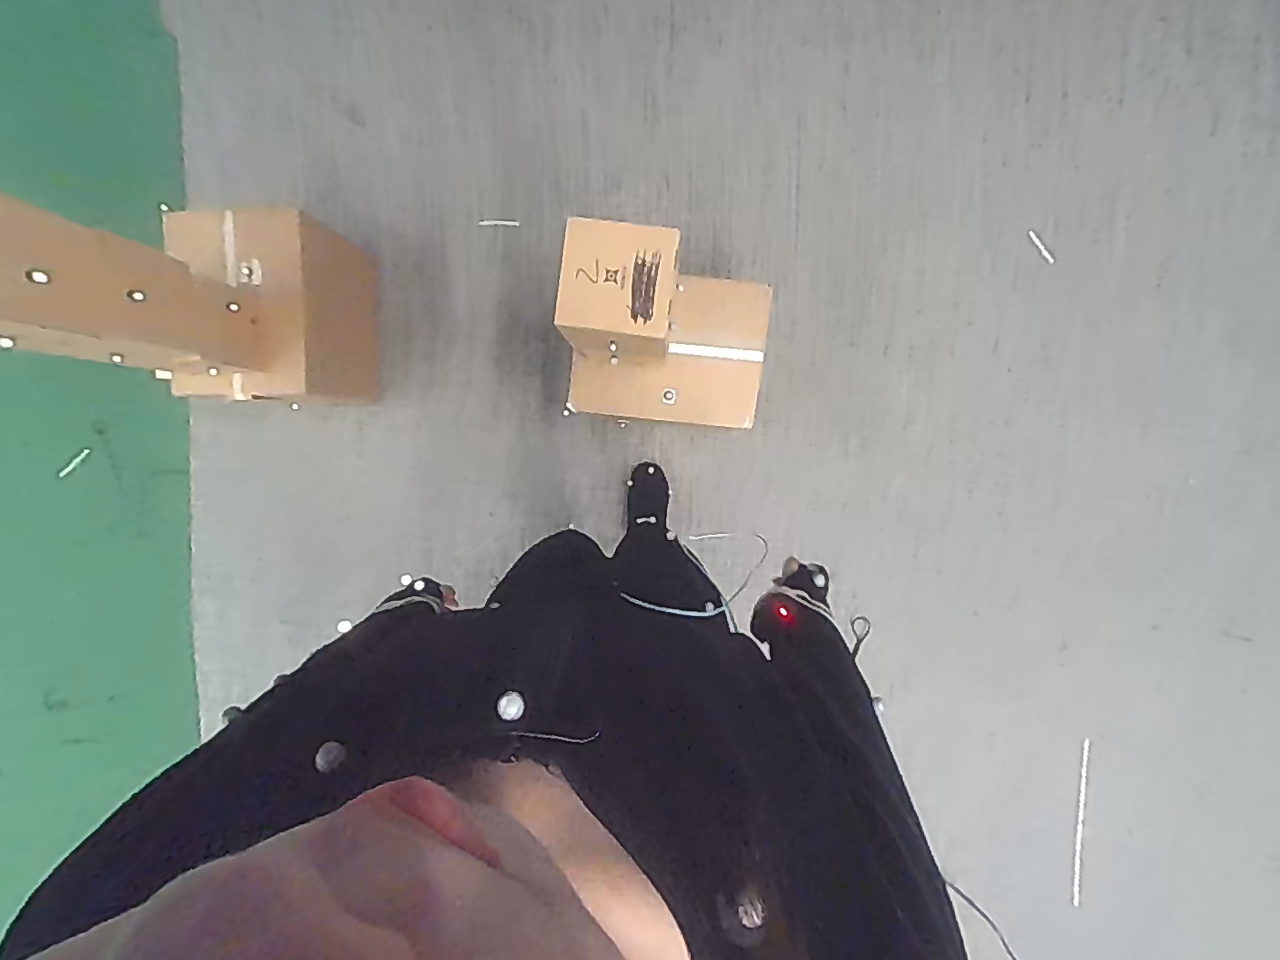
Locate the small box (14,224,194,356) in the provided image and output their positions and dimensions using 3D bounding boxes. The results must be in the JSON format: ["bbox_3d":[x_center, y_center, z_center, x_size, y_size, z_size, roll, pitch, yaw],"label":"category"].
[{"bbox_3d":[-0.920,-0.315,0.934,0.168,0.176,0.179,-5,93,2],"label":"small box"}]

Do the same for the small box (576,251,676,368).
[{"bbox_3d":[-0.022,-0.324,1.063,0.168,0.176,0.179,7,92,1],"label":"small box"}]

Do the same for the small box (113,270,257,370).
[{"bbox_3d":[-0.913,-0.319,1.098,0.179,0.176,0.168,0,93,3],"label":"small box"}]

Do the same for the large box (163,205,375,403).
[{"bbox_3d":[-0.886,-0.405,1.335,0.320,0.320,0.408,1,93,2],"label":"large box"}]

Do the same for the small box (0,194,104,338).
[{"bbox_3d":[-0.925,-0.302,0.770,0.168,0.176,0.179,-3,94,2],"label":"small box"}]
